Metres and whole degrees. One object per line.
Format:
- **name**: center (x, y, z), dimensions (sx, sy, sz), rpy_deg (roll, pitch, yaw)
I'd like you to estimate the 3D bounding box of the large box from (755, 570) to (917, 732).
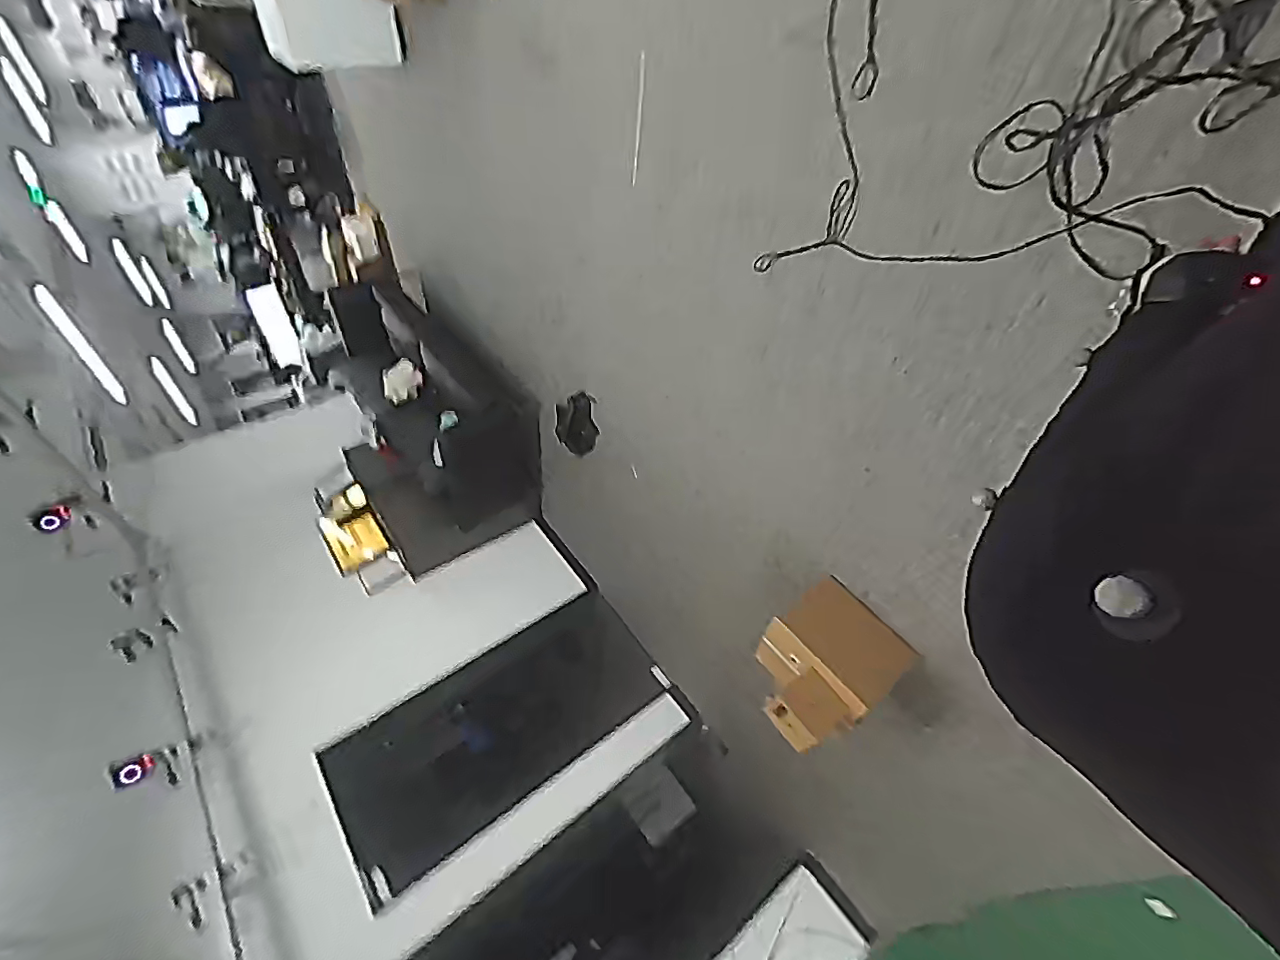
- **large box**: center (0.699, 0.615, 1.974), dimensions (0.408, 0.320, 0.320), rpy_deg (47, 147, 30)
